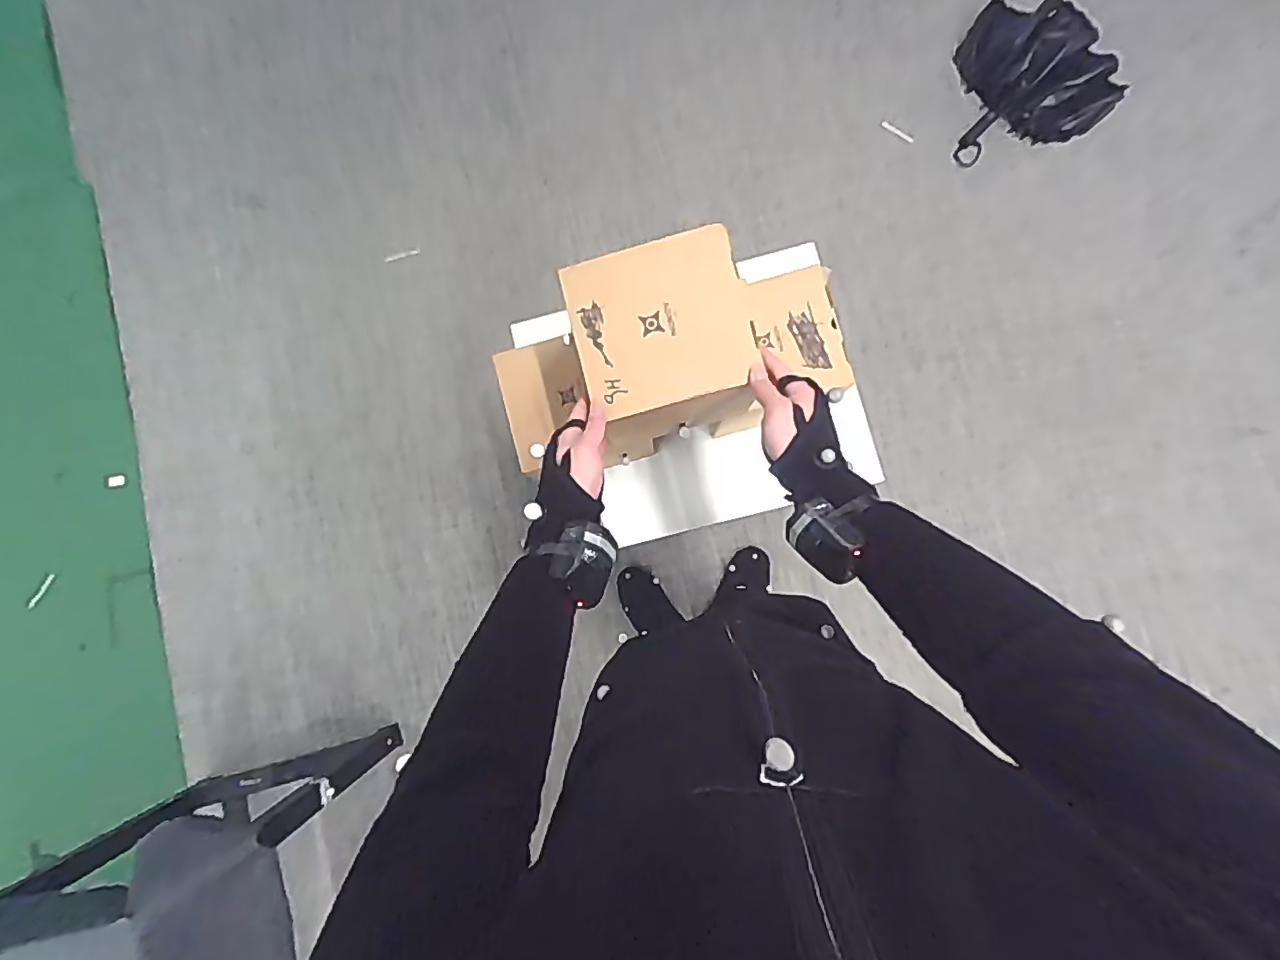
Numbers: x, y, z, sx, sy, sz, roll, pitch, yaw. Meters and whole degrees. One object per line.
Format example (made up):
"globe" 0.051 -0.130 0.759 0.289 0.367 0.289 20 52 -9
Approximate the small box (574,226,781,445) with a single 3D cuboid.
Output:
"small box" 0.037 -0.147 0.607 0.179 0.176 0.168 -13 83 1

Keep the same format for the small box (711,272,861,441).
"small box" 0.180 -0.163 0.764 0.179 0.176 0.168 -14 83 2

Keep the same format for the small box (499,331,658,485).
"small box" -0.078 -0.098 0.771 0.179 0.176 0.168 -16 82 1
